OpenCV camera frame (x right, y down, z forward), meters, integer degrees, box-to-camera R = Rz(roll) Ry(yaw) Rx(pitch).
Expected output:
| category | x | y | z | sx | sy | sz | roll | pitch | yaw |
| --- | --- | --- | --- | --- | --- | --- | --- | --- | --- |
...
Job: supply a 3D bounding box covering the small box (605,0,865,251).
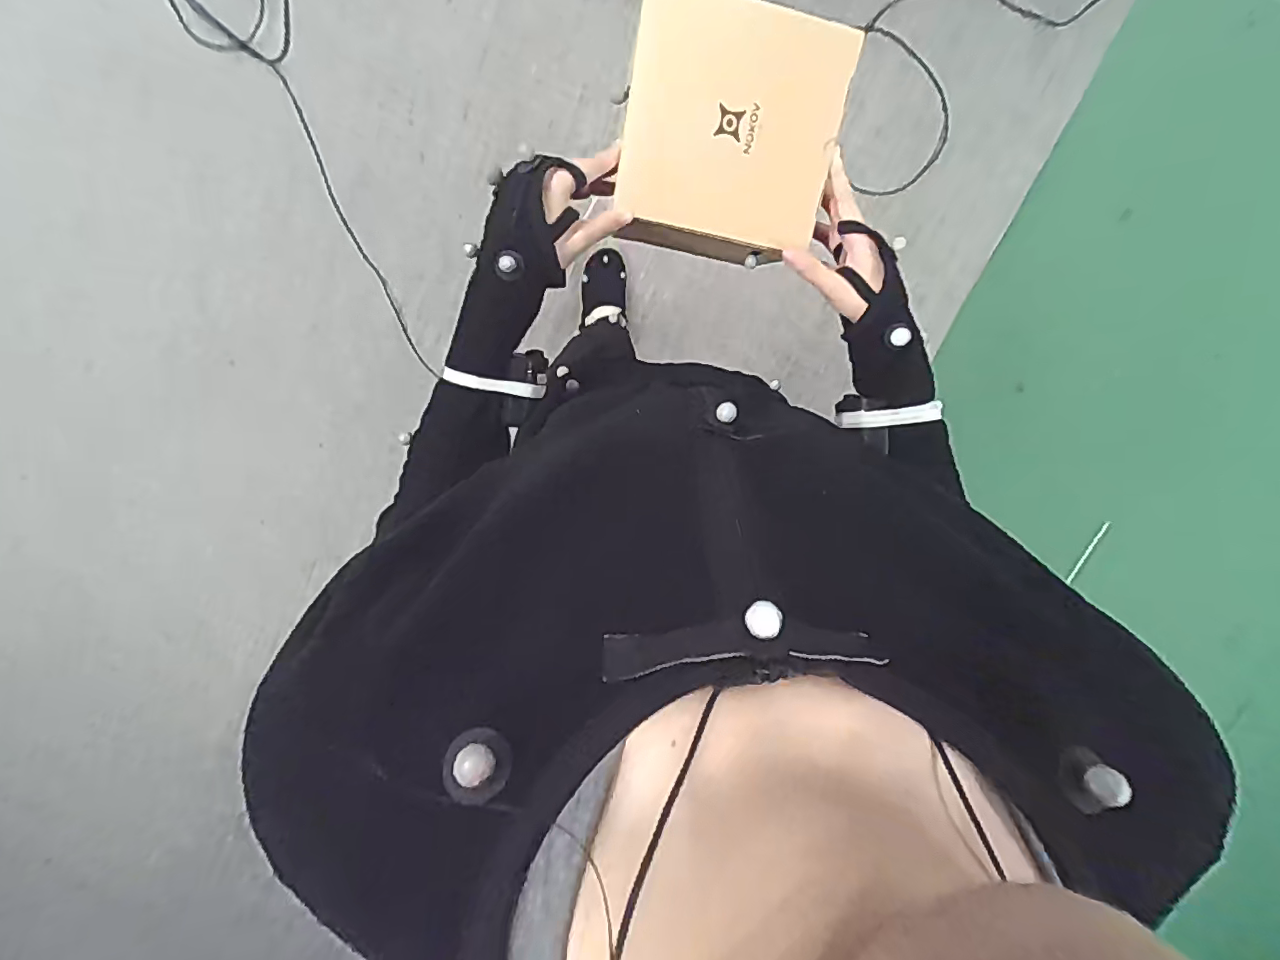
| category | x | y | z | sx | sy | sz | roll | pitch | yaw |
| --- | --- | --- | --- | --- | --- | --- | --- | --- | --- |
| small box | 0.067 | -0.320 | 0.502 | 0.179 | 0.176 | 0.168 | 8 | 107 | -10 |
